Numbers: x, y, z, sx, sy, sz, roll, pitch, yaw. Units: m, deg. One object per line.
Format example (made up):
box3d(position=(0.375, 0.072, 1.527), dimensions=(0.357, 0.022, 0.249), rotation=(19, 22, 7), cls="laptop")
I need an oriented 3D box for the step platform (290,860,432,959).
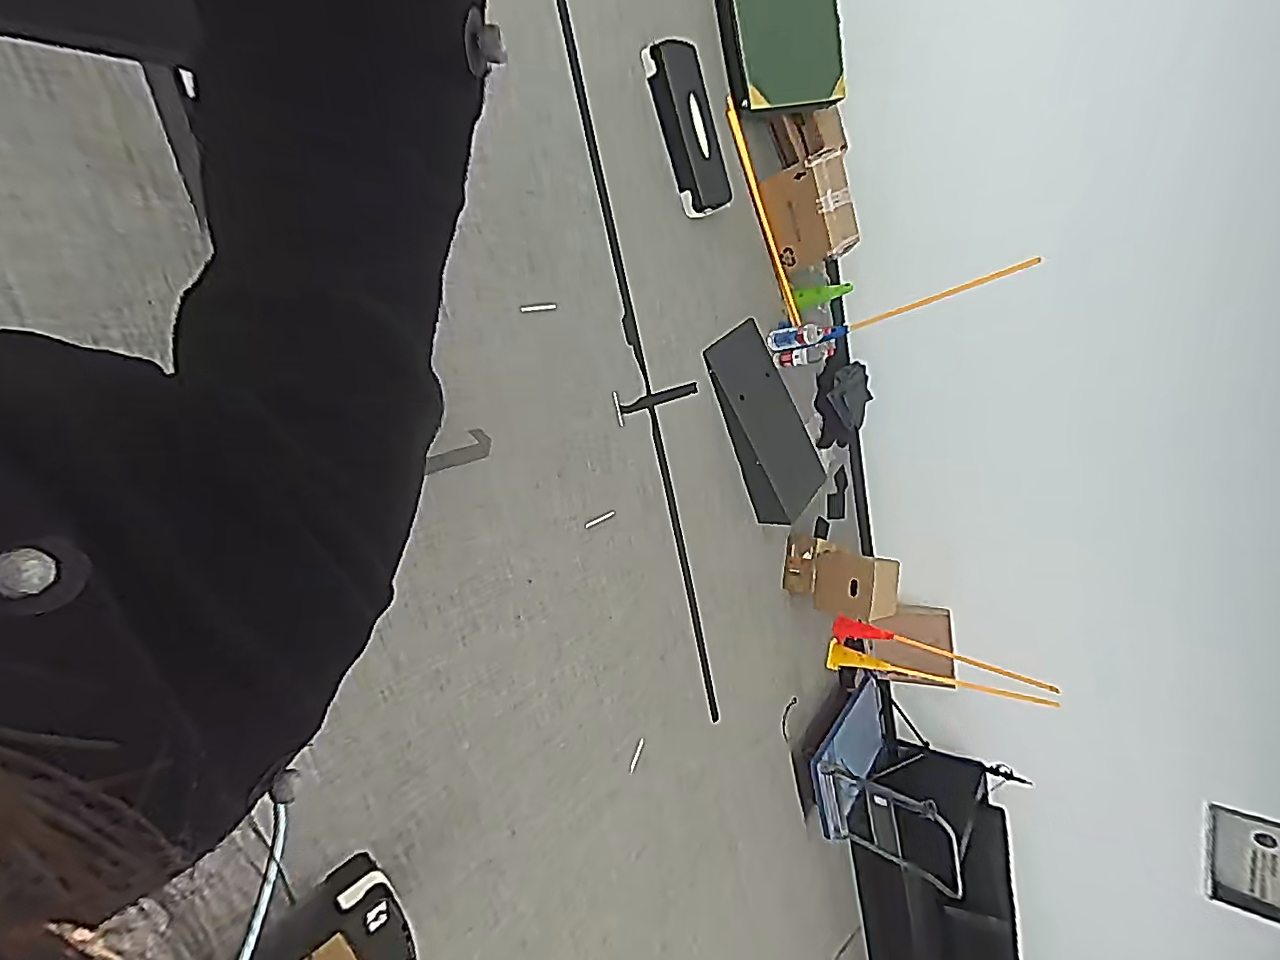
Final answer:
box3d(position=(-0.829, 1.226, 1.211), dimensions=(0.684, 0.204, 0.286), rotation=(-17, 102, -46), cls="step platform")
